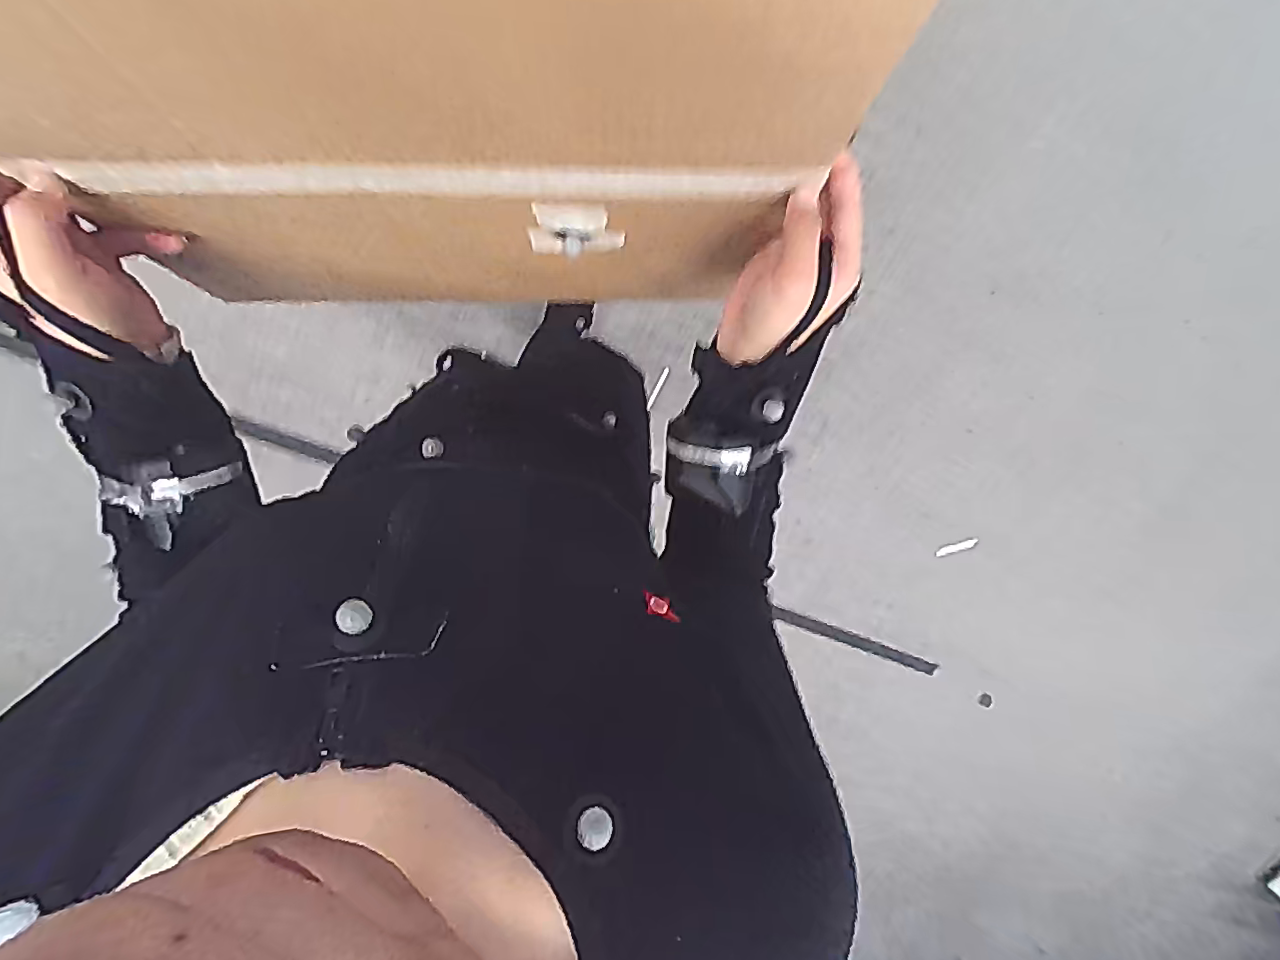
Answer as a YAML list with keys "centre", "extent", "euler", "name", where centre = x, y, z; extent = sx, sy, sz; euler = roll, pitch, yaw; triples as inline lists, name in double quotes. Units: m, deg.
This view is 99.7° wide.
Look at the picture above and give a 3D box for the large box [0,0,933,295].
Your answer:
- centre: [-0.103, -0.313, 0.294]
  extent: [0.408, 0.320, 0.320]
  euler: [-2, 86, -5]
  name: "large box"
